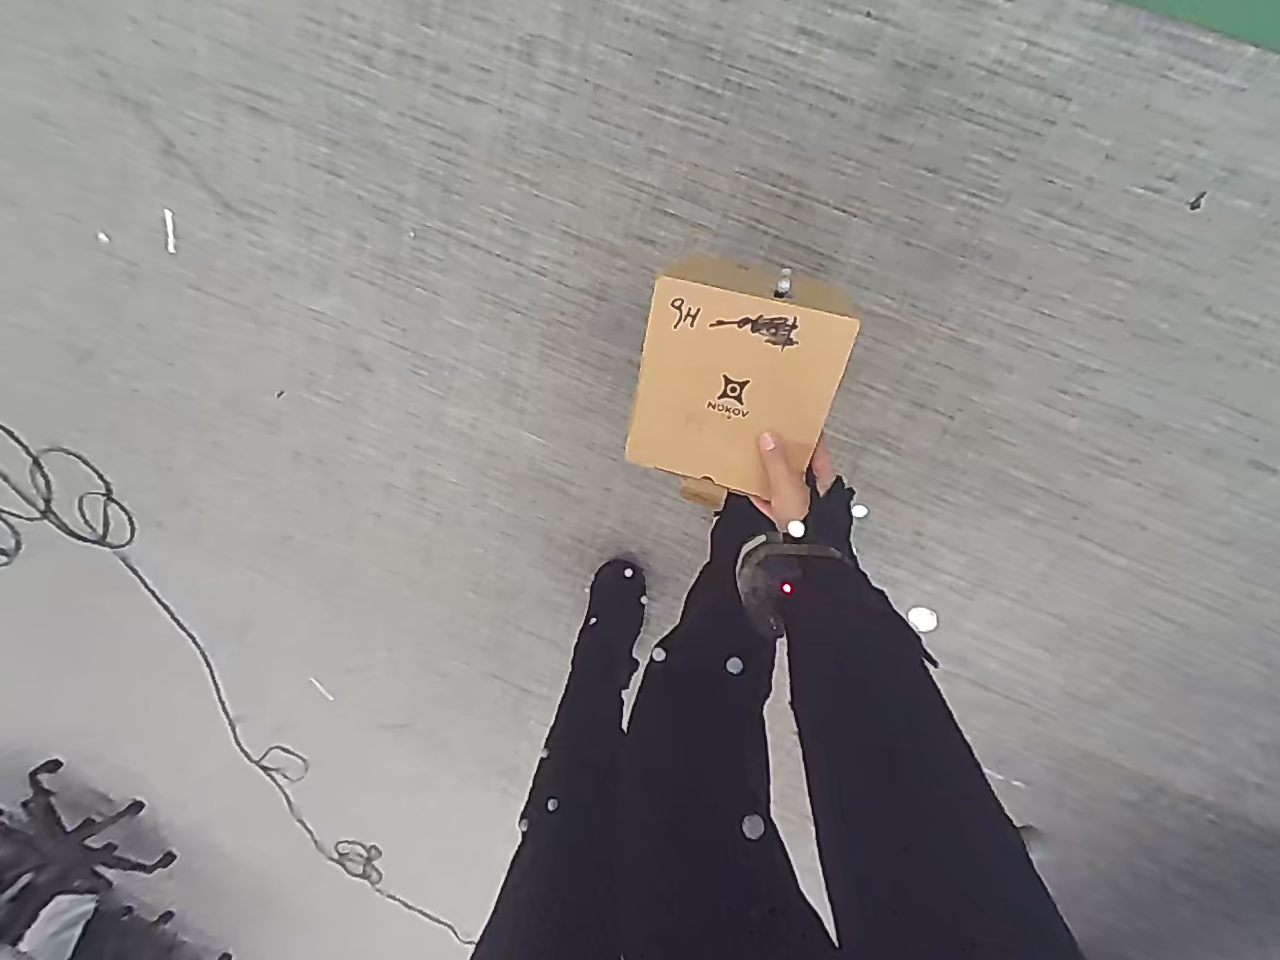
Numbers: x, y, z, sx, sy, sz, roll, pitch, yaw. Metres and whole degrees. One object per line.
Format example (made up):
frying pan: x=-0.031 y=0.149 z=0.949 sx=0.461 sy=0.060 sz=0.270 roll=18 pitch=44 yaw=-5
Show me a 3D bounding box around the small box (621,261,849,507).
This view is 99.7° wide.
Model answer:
small box: x=0.092 y=-0.105 z=0.540 sx=0.168 sy=0.176 sz=0.179 roll=15 pitch=120 yaw=7
